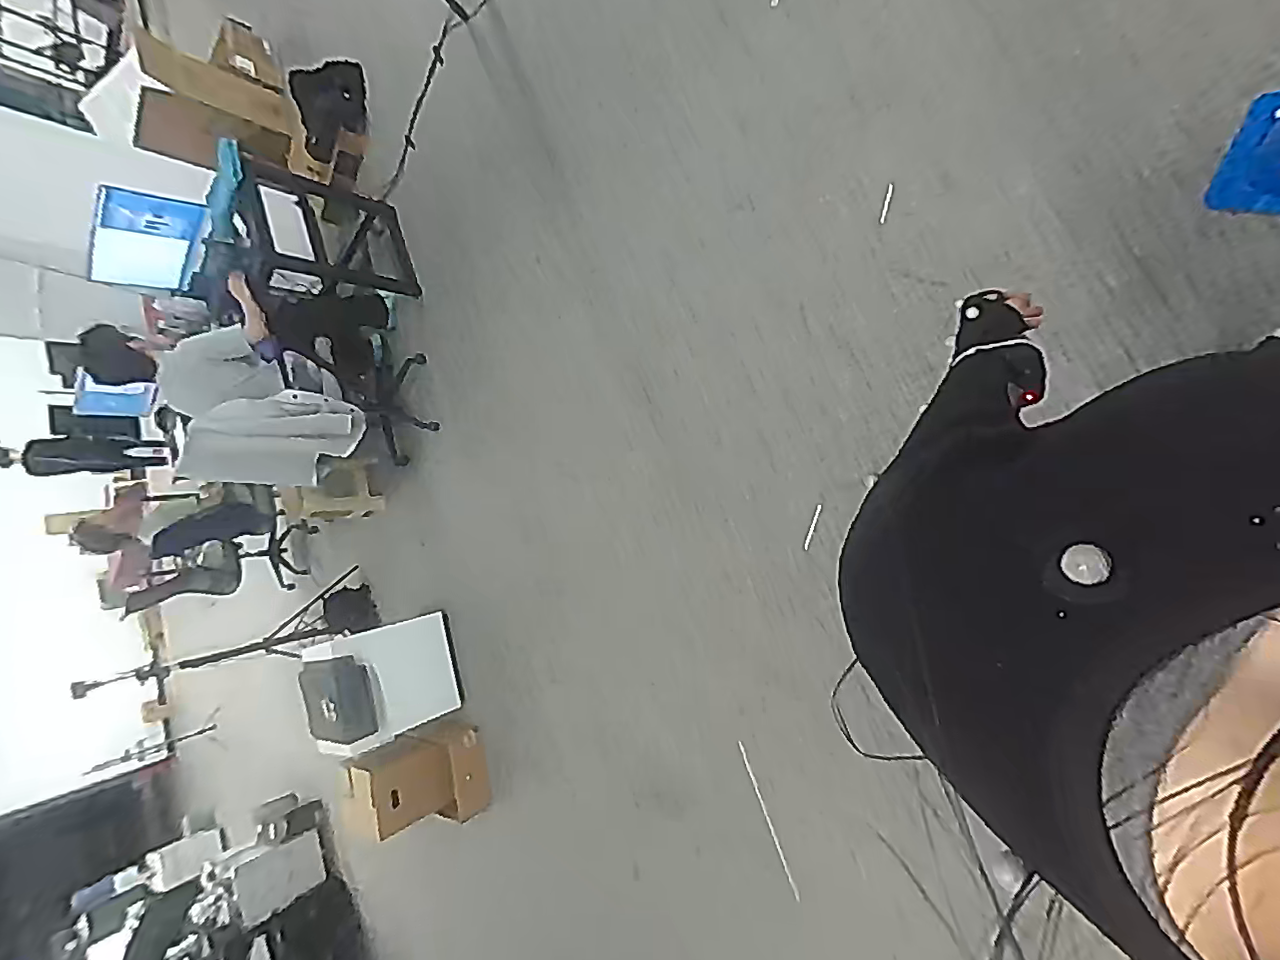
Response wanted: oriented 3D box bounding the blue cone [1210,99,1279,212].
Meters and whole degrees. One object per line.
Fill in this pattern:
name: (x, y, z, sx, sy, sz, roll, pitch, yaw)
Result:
blue cone: (1.053, -0.562, 0.830, 0.193, 0.380, 0.192, 27, 111, 37)
